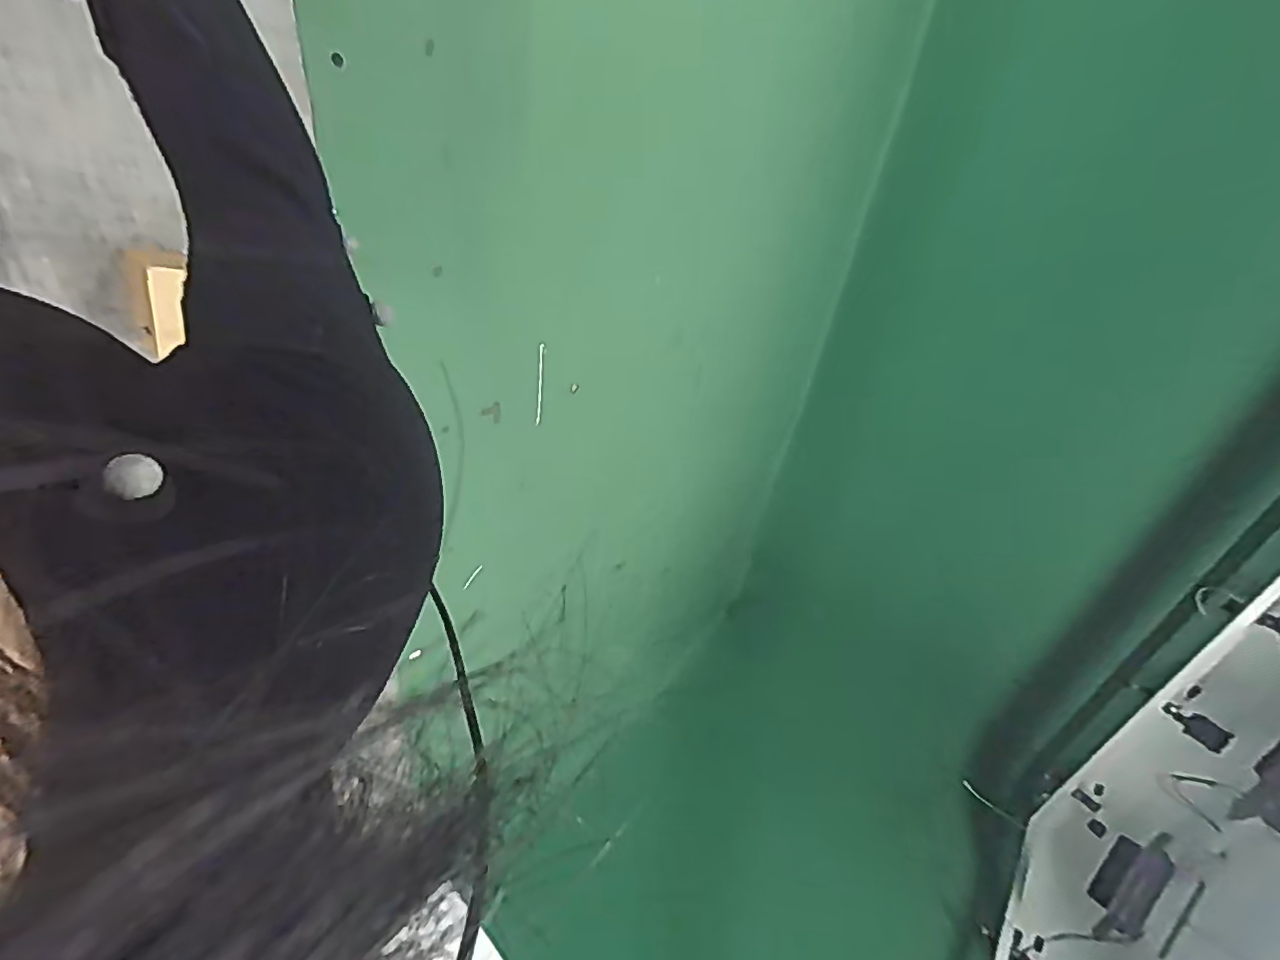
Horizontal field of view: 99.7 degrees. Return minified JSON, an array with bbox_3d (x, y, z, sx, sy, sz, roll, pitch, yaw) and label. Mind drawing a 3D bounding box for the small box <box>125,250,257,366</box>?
[{"bbox_3d":[-0.892,-0.341,1.080,0.168,0.176,0.179,-16,129,-48],"label":"small box"}]
